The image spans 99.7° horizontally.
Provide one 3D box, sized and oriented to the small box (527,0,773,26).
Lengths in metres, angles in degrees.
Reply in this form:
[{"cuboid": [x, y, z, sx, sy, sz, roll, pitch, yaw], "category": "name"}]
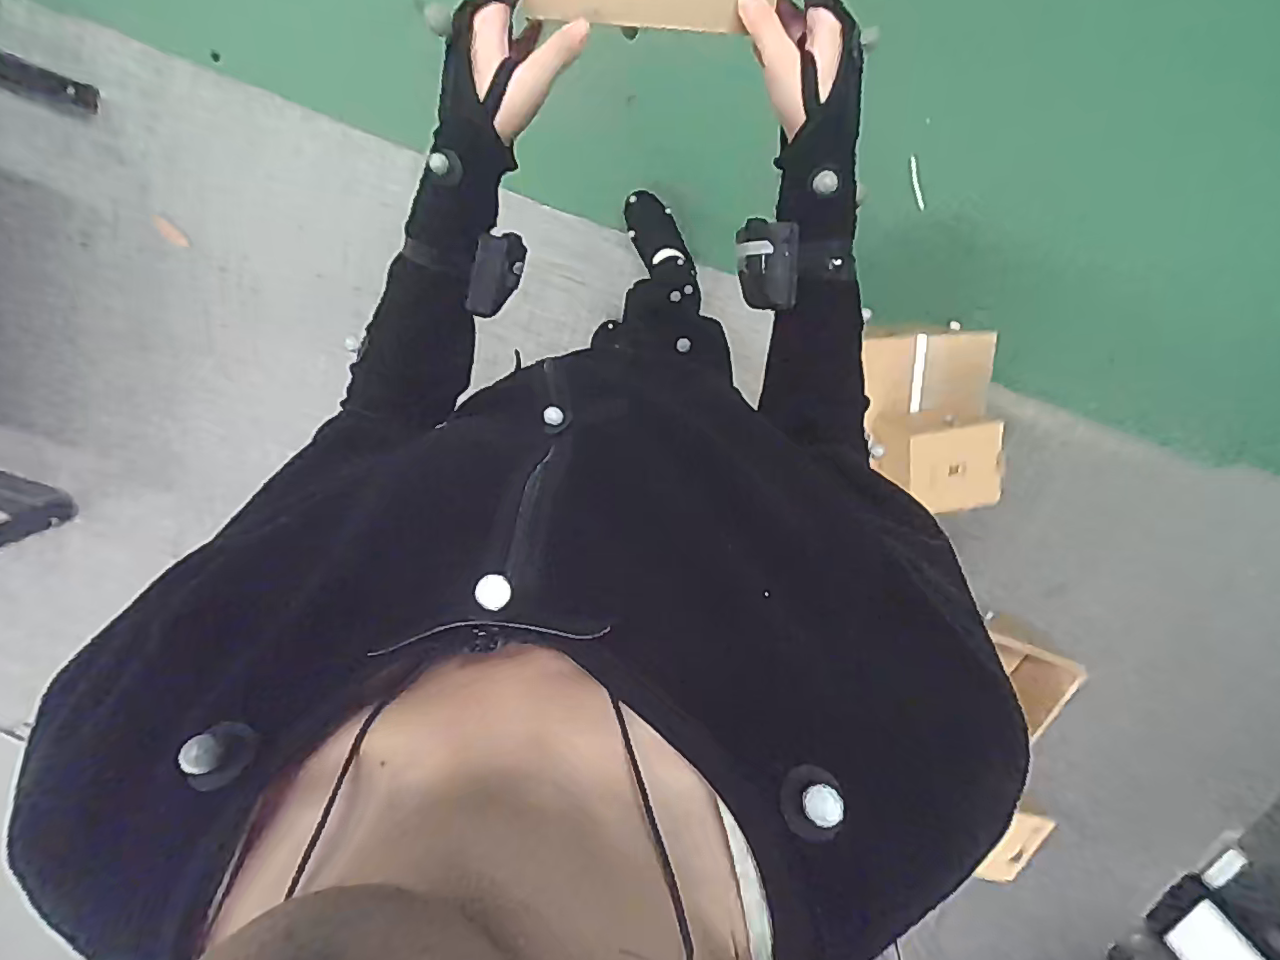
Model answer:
[{"cuboid": [0.004, -0.420, 0.350, 0.168, 0.176, 0.179, -1, 135, -5], "category": "small box"}]
